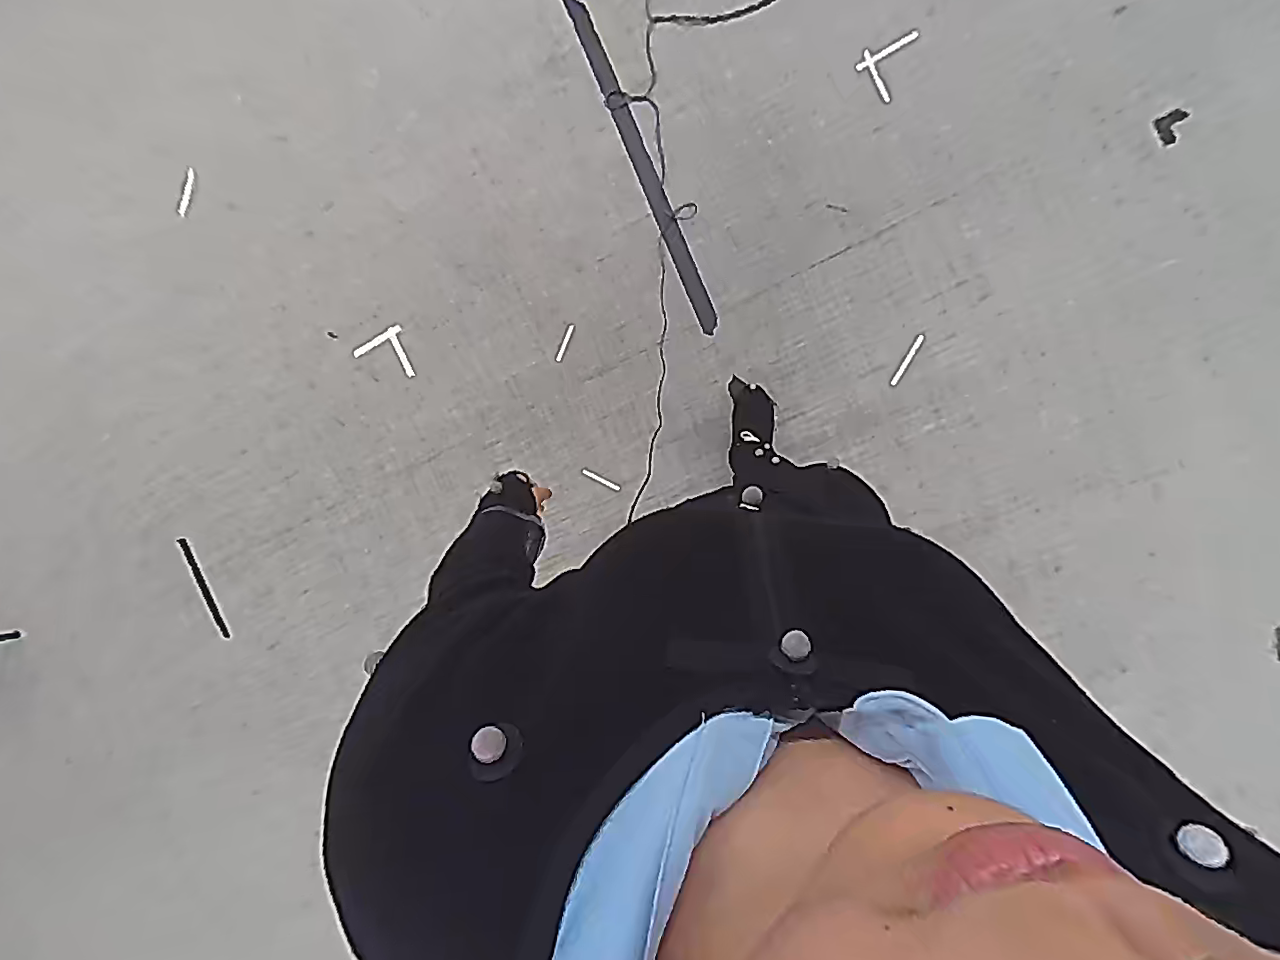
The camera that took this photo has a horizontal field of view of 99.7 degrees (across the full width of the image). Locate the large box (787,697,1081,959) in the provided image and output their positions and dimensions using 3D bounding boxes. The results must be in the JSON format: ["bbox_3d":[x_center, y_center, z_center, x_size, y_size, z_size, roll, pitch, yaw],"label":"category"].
[{"bbox_3d":[0.574,0.739,1.147,0.408,0.320,0.320,-30,88,11],"label":"large box"}]
